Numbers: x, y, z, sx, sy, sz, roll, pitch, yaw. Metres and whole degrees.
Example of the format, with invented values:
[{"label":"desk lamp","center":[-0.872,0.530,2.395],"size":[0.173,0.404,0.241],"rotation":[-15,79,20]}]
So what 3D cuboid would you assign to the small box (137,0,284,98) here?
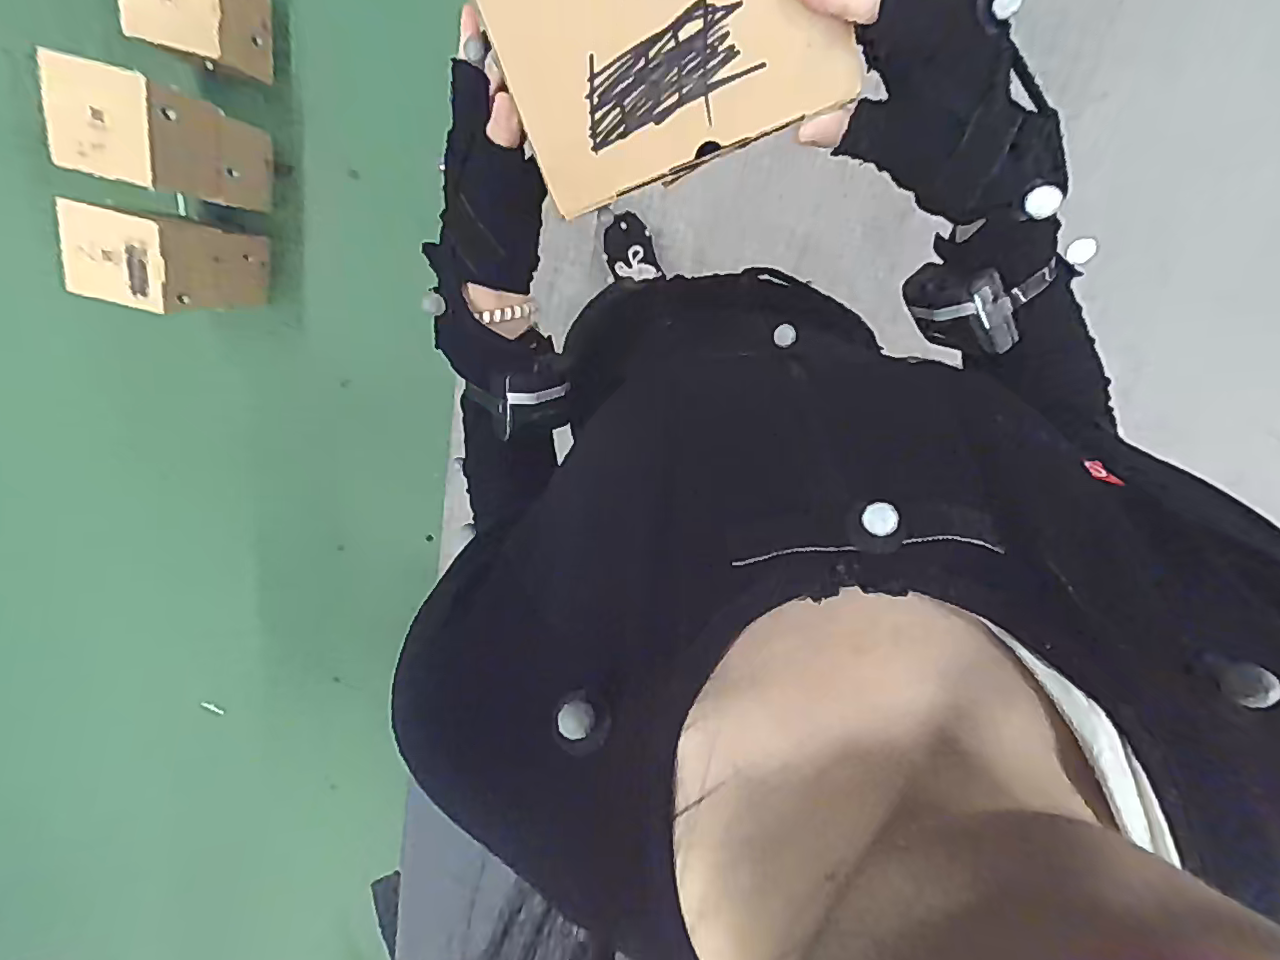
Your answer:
[{"label":"small box","center":[-0.860,-0.907,1.094],"size":[0.179,0.176,0.168],"rotation":[10,109,-6]}]

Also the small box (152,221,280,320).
[{"label":"small box","center":[-0.969,-0.482,1.249],"size":[0.179,0.176,0.168],"rotation":[15,109,-7]}]
